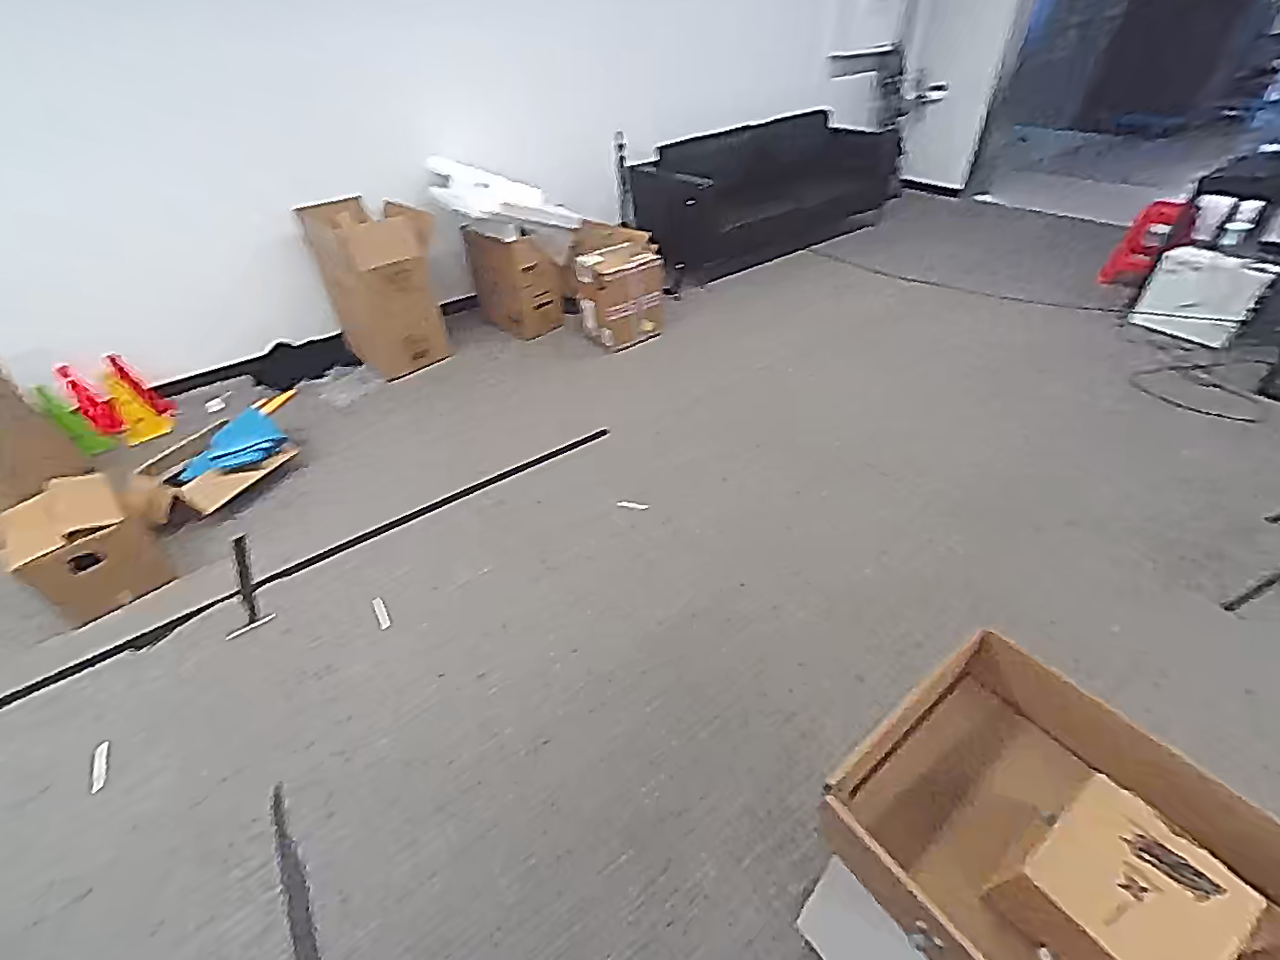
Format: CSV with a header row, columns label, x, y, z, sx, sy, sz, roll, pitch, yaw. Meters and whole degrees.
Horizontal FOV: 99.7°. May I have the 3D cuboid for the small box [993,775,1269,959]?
label,x,y,z,sx,sy,sz,roll,pitch,yaw
small box,0.573,0.509,0.658,0.179,0.176,0.168,-31,46,-20
